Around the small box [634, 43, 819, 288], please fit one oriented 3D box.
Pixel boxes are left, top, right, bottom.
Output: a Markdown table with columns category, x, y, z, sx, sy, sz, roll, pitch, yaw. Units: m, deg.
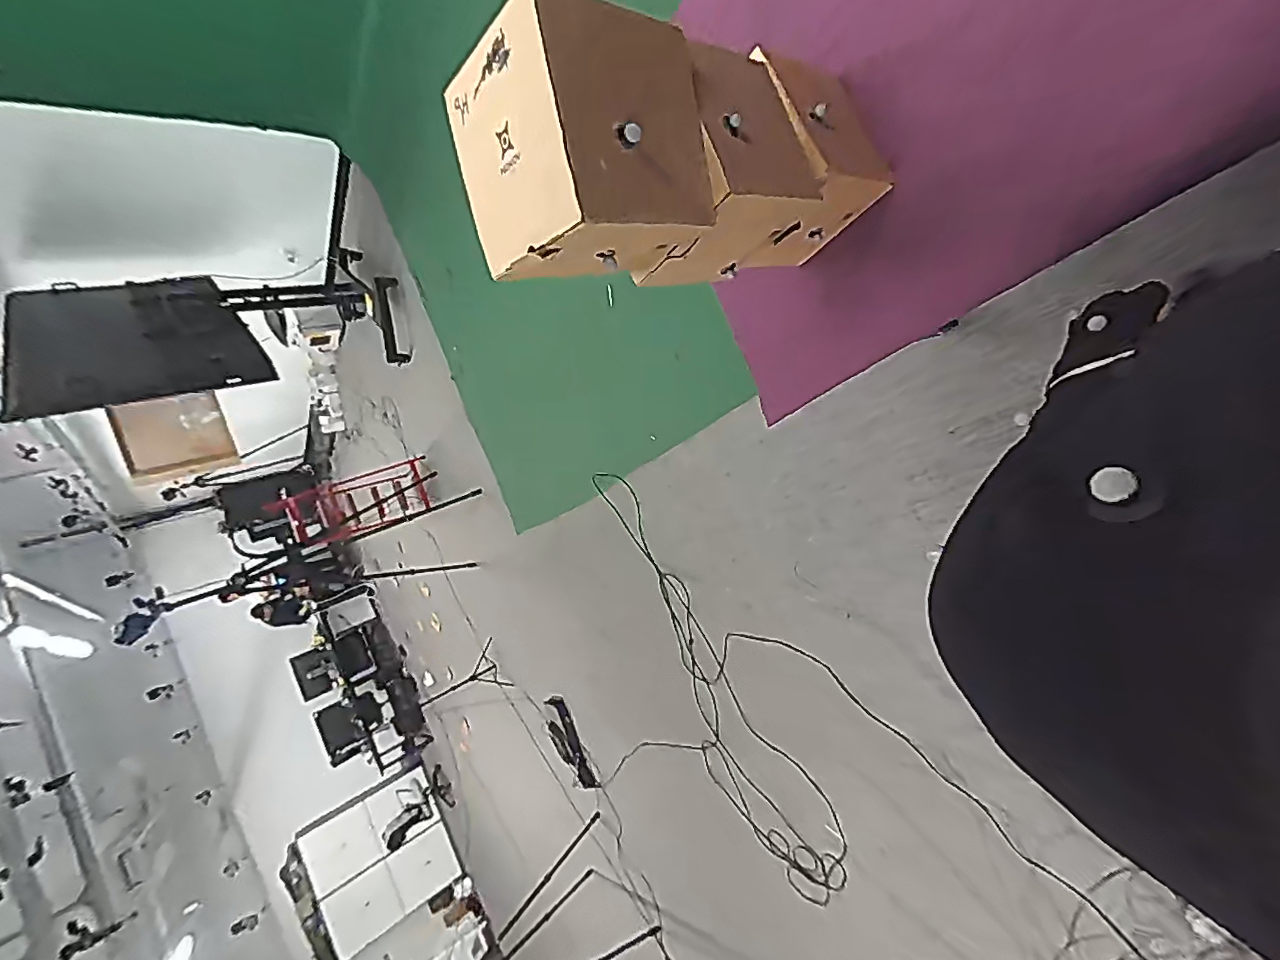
| category | x | y | z | sx | sy | sz | roll | pitch | yaw |
| --- | --- | --- | --- | --- | --- | --- | --- | --- | --- |
| small box | 0.077 | -0.350 | 0.631 | 0.168 | 0.176 | 0.179 | -25 | 87 | 52 |

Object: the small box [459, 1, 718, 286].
| category | x | y | z | sx | sy | sz | roll | pitch | yaw |
| --- | --- | --- | --- | --- | --- | --- | --- | --- | --- |
| small box | -0.044 | -0.306 | 0.530 | 0.168 | 0.176 | 0.179 | 1 | 109 | 49 |

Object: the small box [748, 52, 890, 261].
| category | x | y | z | sx | sy | sz | roll | pitch | yaw |
| --- | --- | --- | --- | --- | --- | --- | --- | --- | --- |
| small box | 0.196 | -0.414 | 0.727 | 0.168 | 0.176 | 0.179 | -33 | 82 | 51 |
